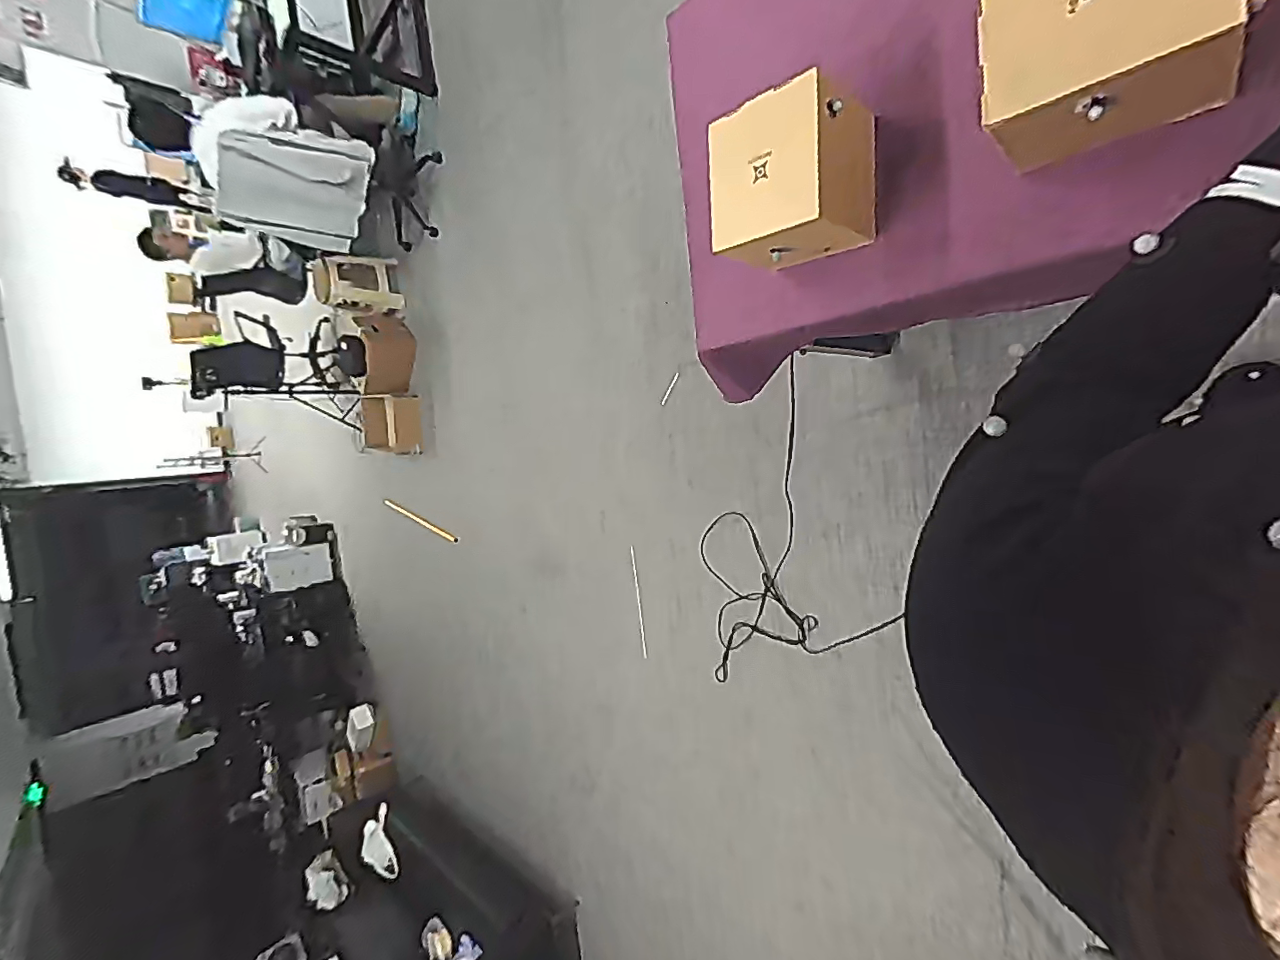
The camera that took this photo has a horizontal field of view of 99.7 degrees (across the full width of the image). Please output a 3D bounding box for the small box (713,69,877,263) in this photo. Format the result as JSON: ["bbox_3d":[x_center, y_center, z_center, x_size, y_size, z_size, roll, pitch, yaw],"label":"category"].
[{"bbox_3d":[0.222,-0.420,0.767,0.168,0.176,0.179,3,97,46],"label":"small box"}]

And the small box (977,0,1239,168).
[{"bbox_3d":[0.451,-0.437,0.524,0.179,0.176,0.168,1,97,46],"label":"small box"}]
